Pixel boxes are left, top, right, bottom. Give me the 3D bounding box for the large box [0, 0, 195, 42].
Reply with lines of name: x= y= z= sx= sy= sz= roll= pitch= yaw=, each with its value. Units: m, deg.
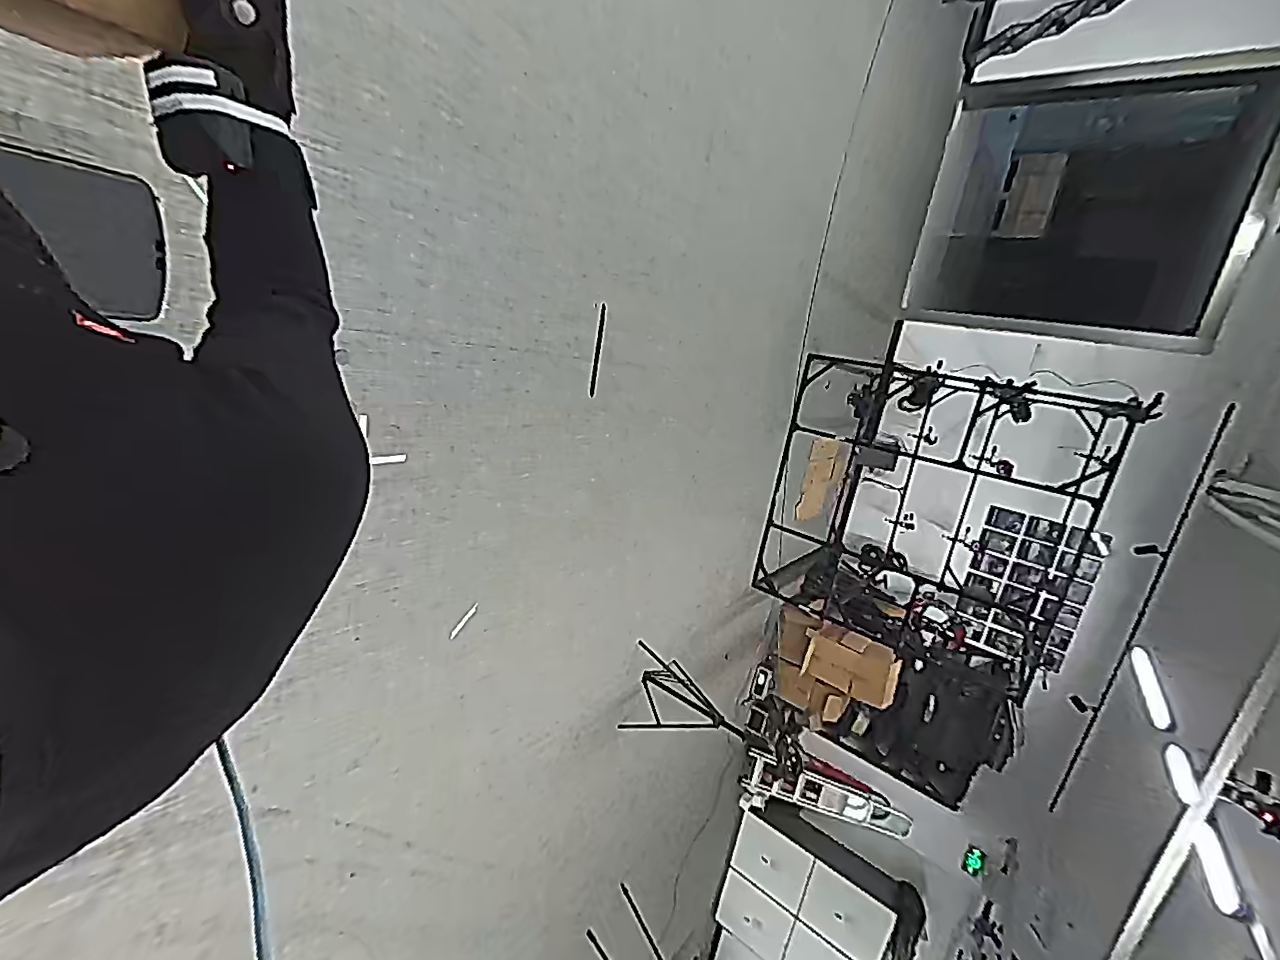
large box: x=-0.515 y=-0.489 z=0.255 sx=0.408 sy=0.320 sz=0.320 roll=-11 pitch=123 yaw=-55
